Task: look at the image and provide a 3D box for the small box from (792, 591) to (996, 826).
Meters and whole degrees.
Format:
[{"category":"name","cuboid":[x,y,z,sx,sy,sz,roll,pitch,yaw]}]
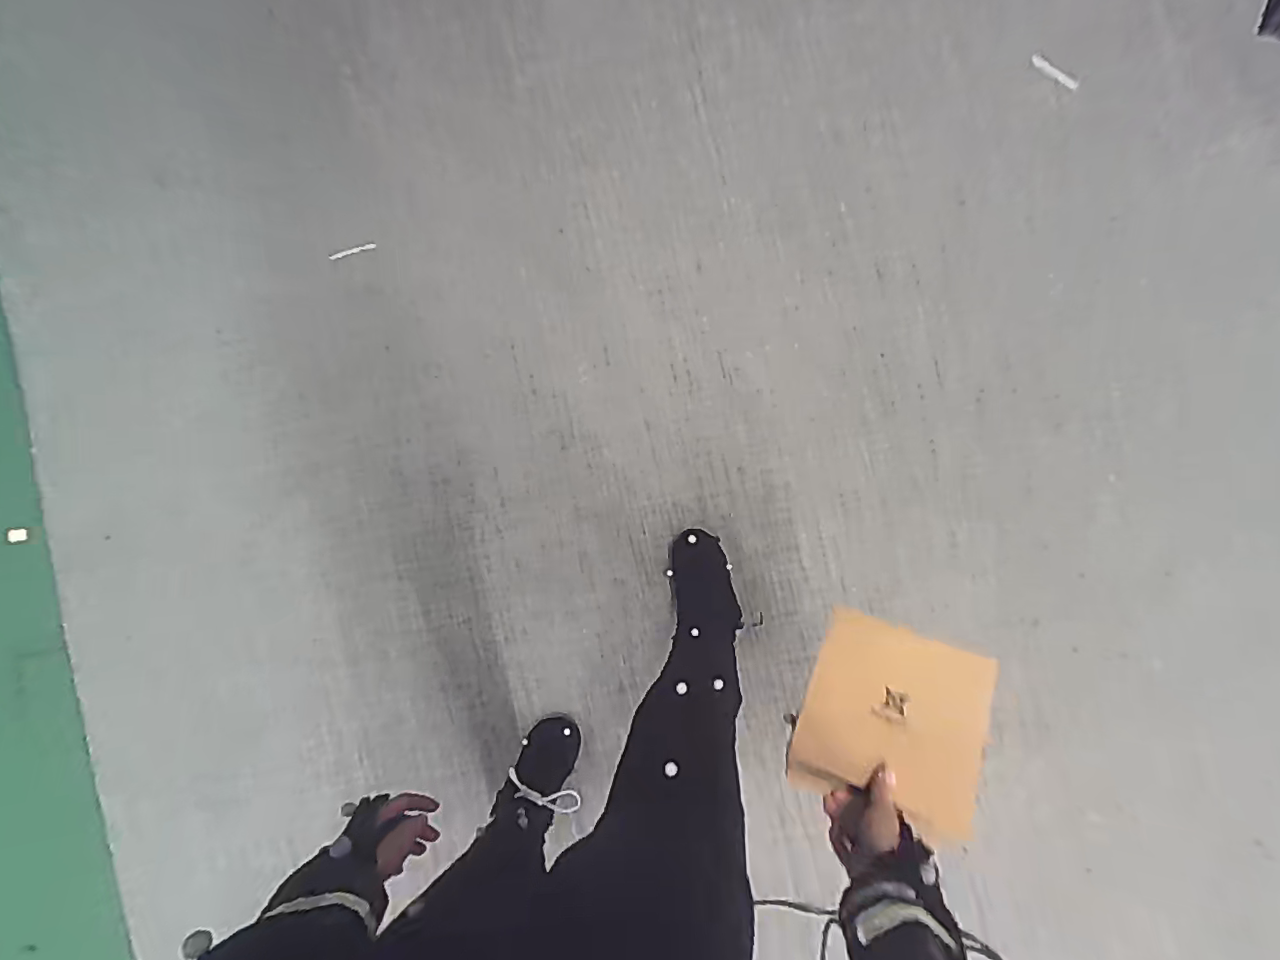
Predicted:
[{"category":"small box","cuboid":[0.272,0.257,0.608,0.168,0.176,0.179,15,61,24]}]
